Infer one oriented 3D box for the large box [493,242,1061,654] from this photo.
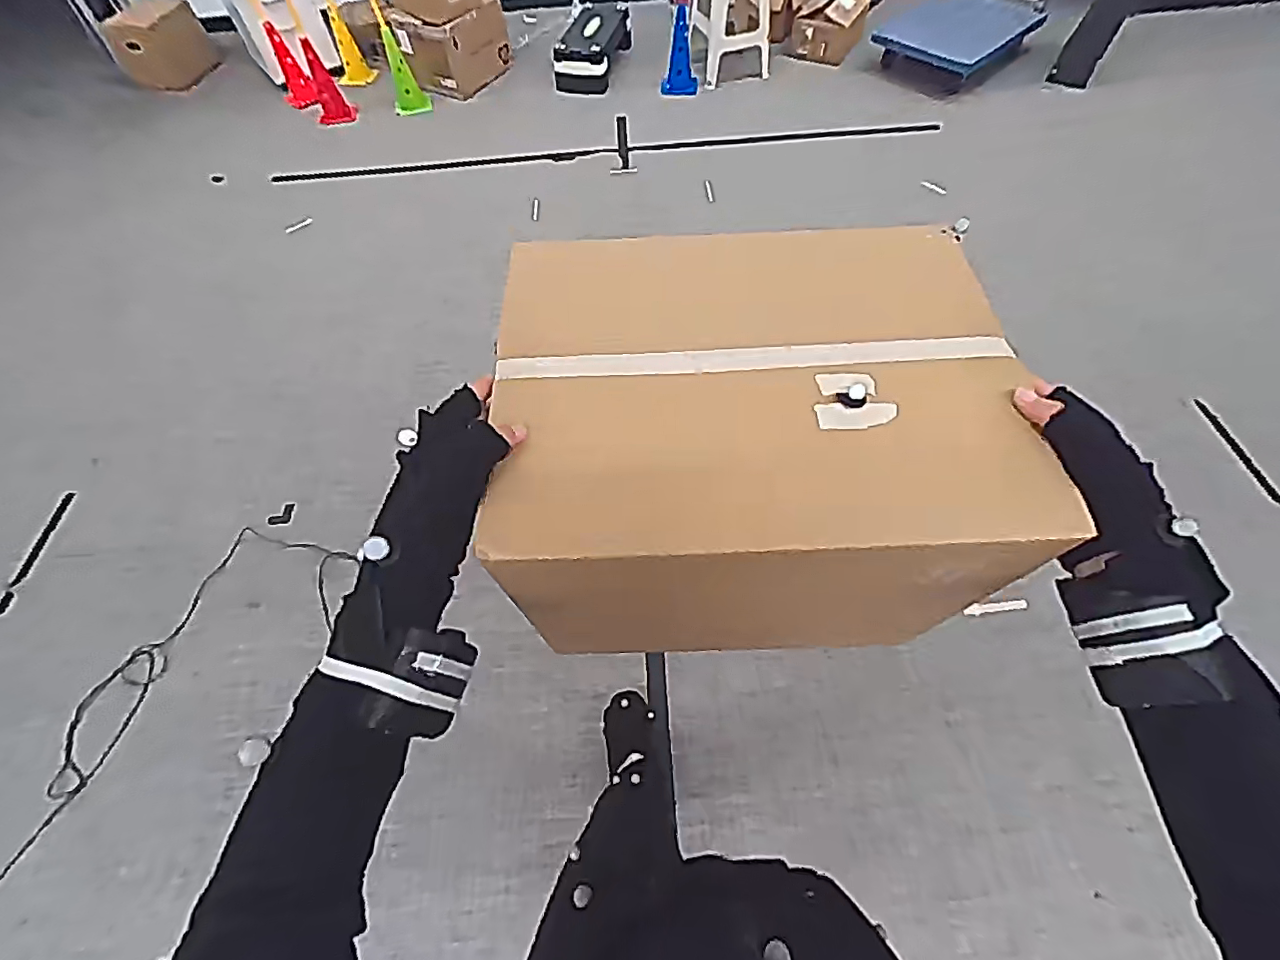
[{"bbox_3d":[0.089,-0.013,0.572,0.408,0.320,0.320,-2,62,0],"label":"large box"}]
